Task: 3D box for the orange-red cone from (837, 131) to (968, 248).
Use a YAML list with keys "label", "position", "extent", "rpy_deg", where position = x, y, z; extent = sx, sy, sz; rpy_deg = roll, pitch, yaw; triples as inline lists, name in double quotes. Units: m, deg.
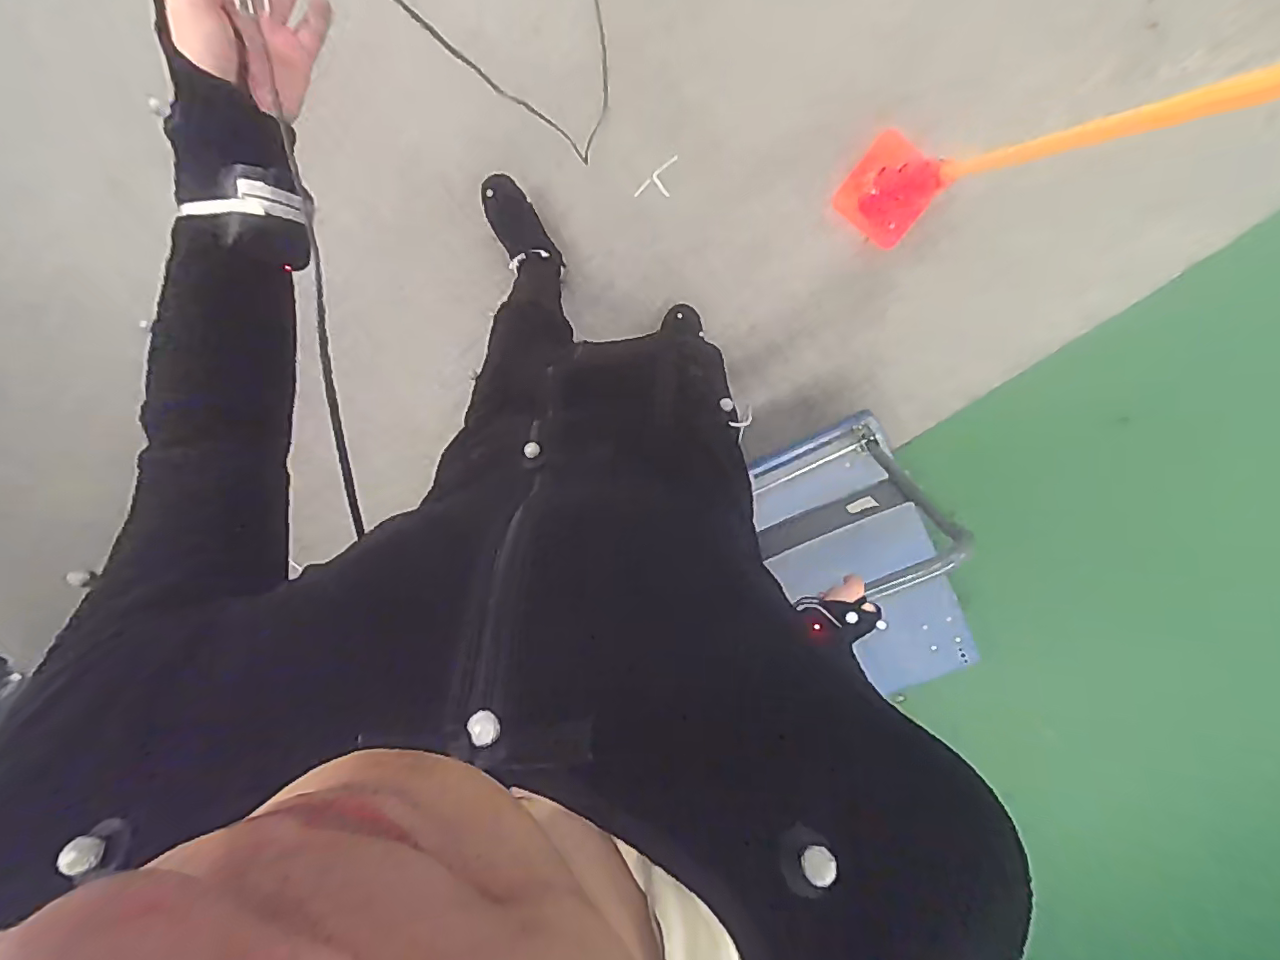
- label: "orange-red cone"
  position: [0.592, -0.630, 1.145]
  extent: [0.198, 0.360, 0.199]
  rpy_deg: [35, 110, -10]
